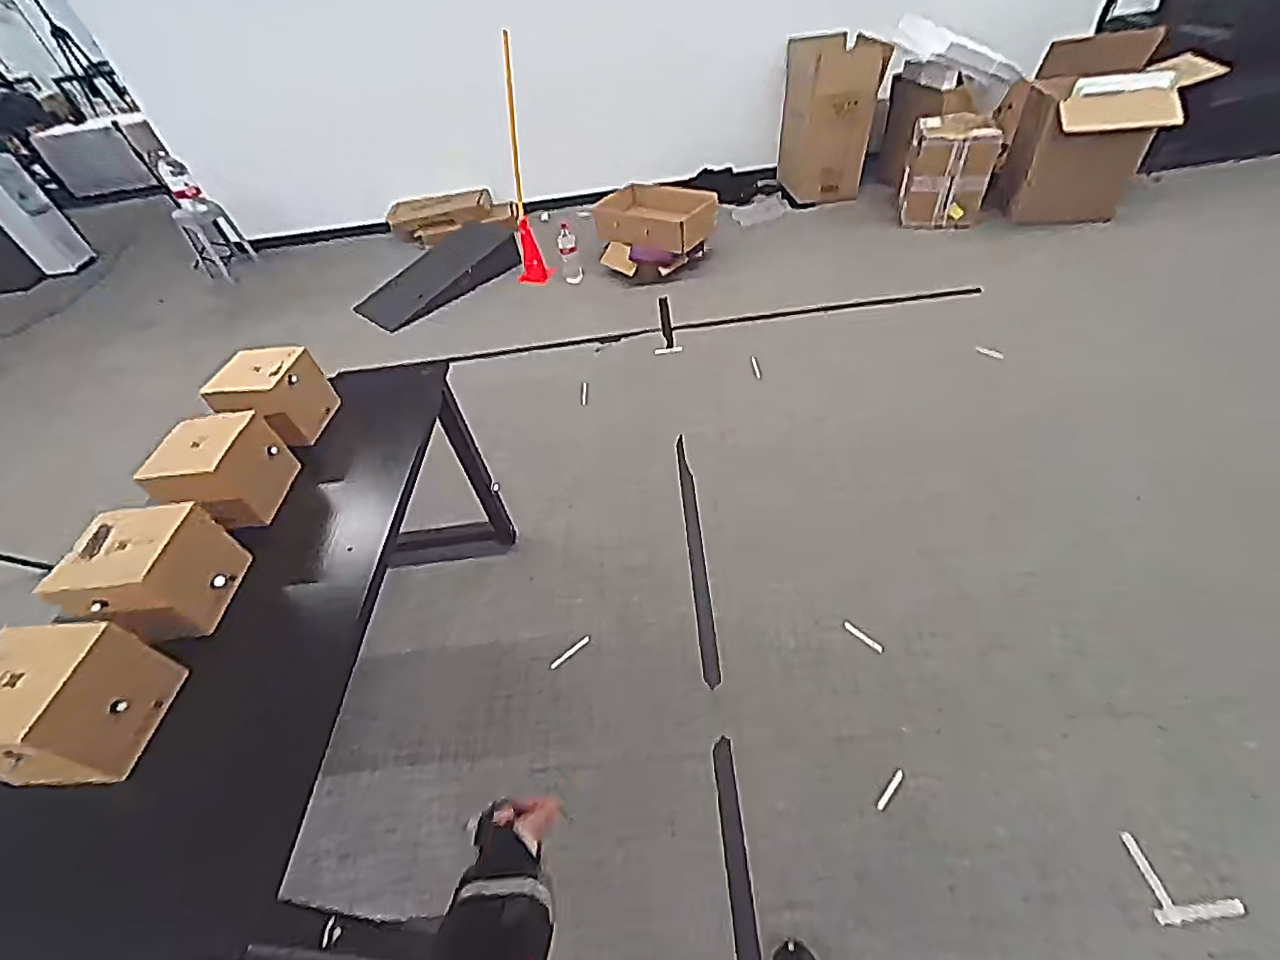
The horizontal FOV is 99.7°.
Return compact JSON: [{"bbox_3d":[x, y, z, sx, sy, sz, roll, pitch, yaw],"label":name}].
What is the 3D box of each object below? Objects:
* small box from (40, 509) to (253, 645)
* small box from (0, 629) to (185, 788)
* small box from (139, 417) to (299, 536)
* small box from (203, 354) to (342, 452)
[{"bbox_3d":[-0.839,0.173,0.943,0.179,0.176,0.168,-6,46,2],"label":"small box"},{"bbox_3d":[-0.834,0.334,0.786,0.179,0.176,0.168,-4,45,5],"label":"small box"},{"bbox_3d":[-0.850,-0.003,1.118,0.168,0.176,0.179,-7,47,4],"label":"small box"},{"bbox_3d":[-0.859,-0.178,1.284,0.179,0.176,0.168,-3,47,7],"label":"small box"}]
